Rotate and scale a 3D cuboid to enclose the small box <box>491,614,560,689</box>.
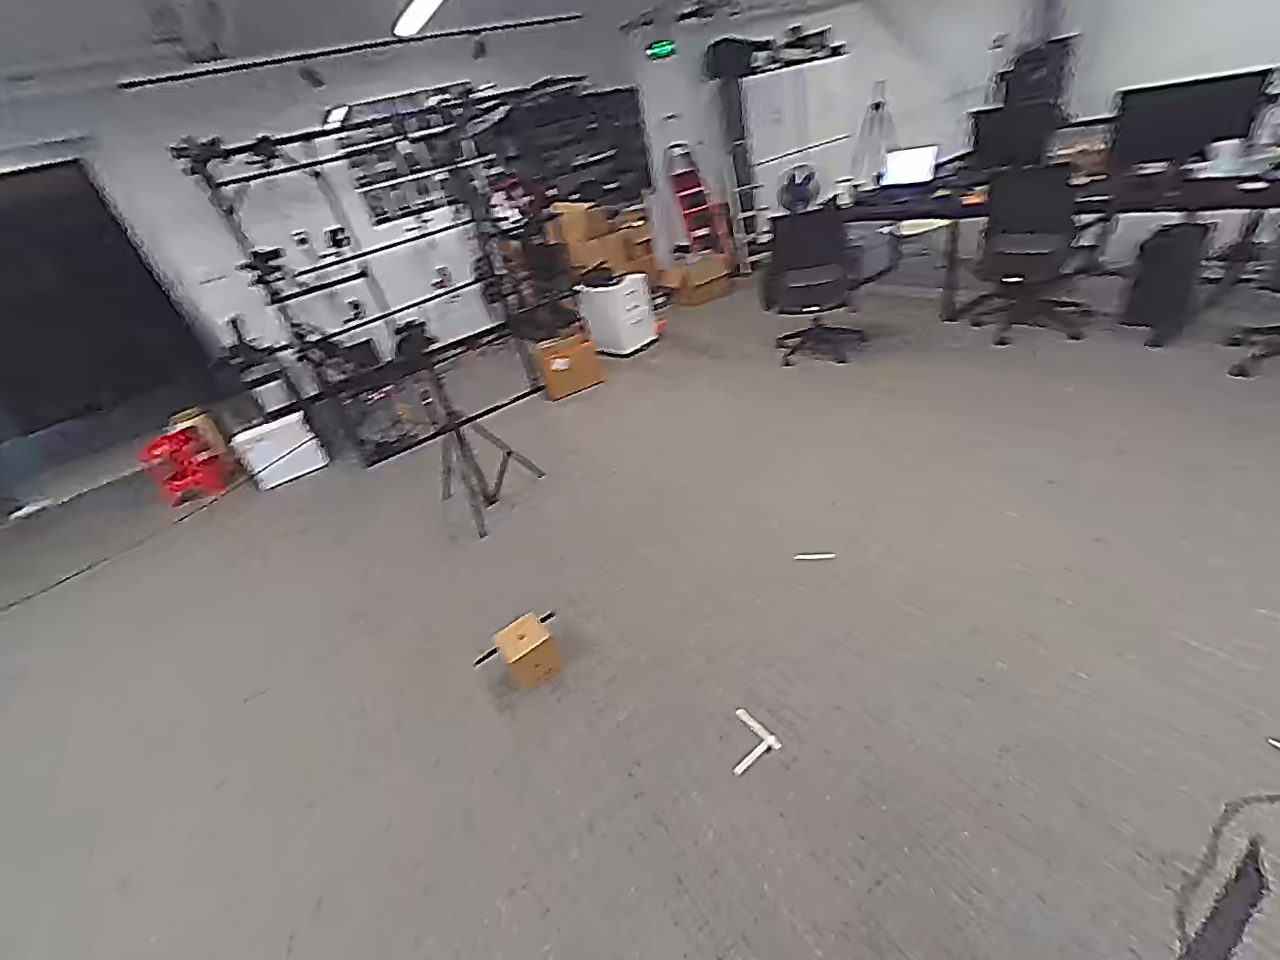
[{"bbox_3d":[-0.419,0.640,1.998,0.168,0.176,0.179,-31,34,-24],"label":"small box"}]
